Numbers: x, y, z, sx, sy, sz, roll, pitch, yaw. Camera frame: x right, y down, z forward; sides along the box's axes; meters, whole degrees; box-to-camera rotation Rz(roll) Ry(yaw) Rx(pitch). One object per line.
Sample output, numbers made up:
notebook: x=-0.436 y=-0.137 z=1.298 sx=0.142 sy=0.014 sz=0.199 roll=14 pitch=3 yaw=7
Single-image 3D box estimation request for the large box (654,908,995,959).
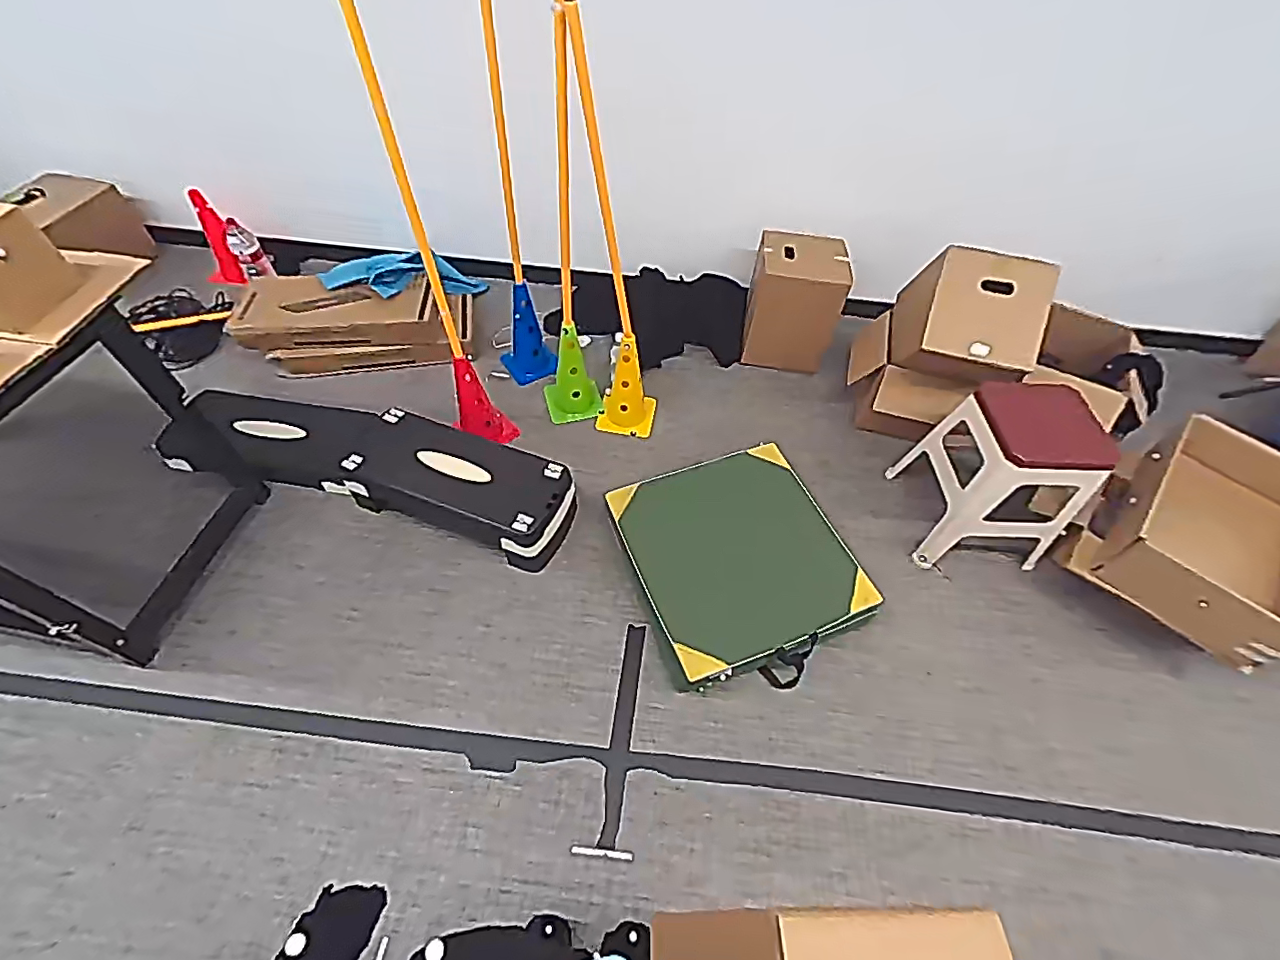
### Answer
large box: x=0.232 y=0.750 z=0.686 sx=0.320 sy=0.408 sz=0.320 roll=11 pitch=49 yaw=-14
